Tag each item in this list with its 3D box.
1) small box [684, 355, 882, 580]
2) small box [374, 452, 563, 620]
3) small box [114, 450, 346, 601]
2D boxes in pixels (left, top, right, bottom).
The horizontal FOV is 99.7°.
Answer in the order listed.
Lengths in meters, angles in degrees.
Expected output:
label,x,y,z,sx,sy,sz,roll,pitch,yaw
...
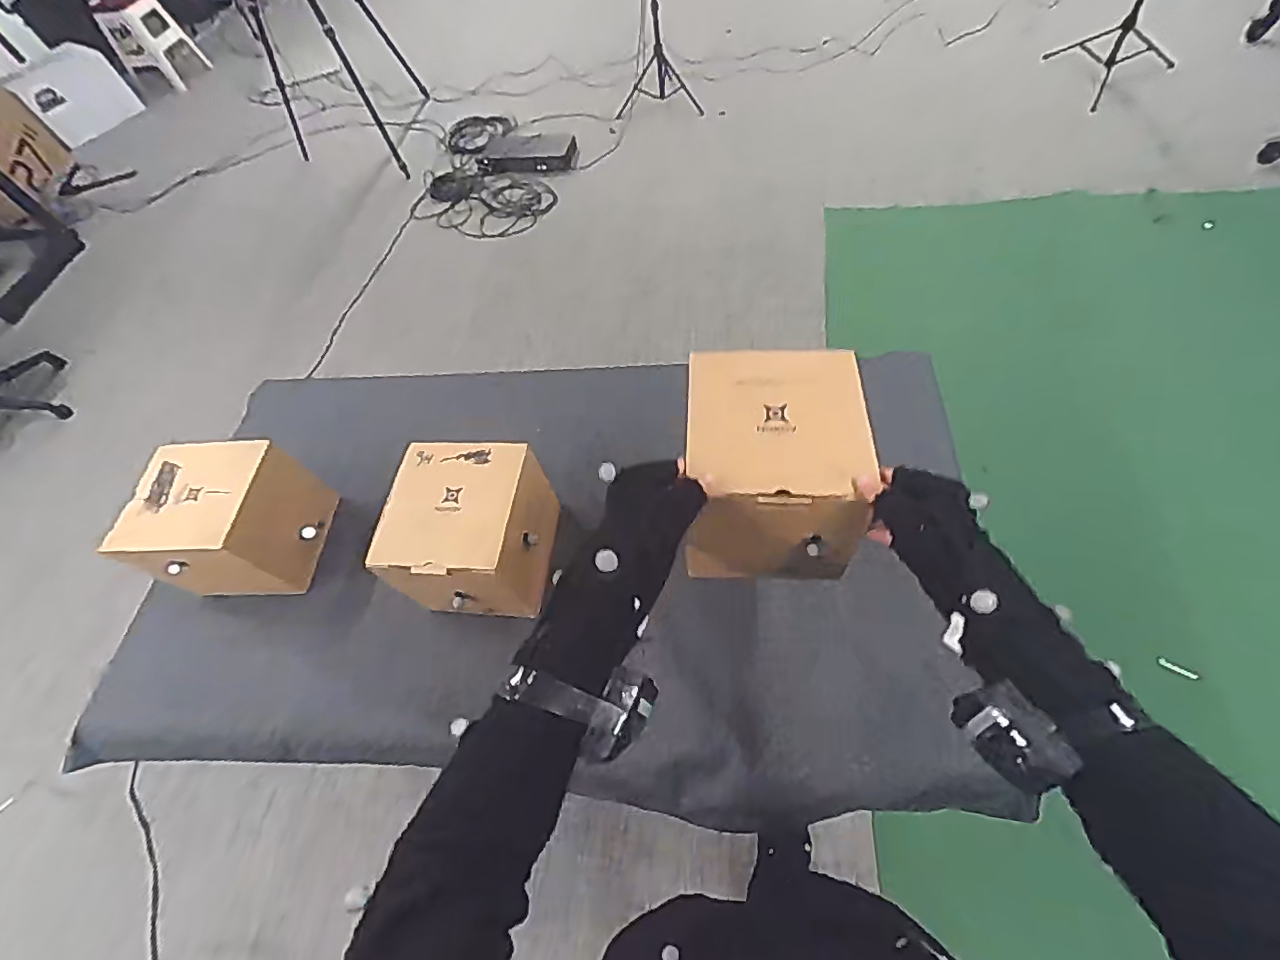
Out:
label,x,y,z,sx,sy,sz,roll,pitch,yaw
small box,0.132,-0.007,0.564,0.168,0.176,0.179,0,54,5
small box,-0.213,0.080,0.728,0.168,0.176,0.179,1,59,10
small box,-0.577,0.073,0.791,0.179,0.176,0.168,-2,58,7
